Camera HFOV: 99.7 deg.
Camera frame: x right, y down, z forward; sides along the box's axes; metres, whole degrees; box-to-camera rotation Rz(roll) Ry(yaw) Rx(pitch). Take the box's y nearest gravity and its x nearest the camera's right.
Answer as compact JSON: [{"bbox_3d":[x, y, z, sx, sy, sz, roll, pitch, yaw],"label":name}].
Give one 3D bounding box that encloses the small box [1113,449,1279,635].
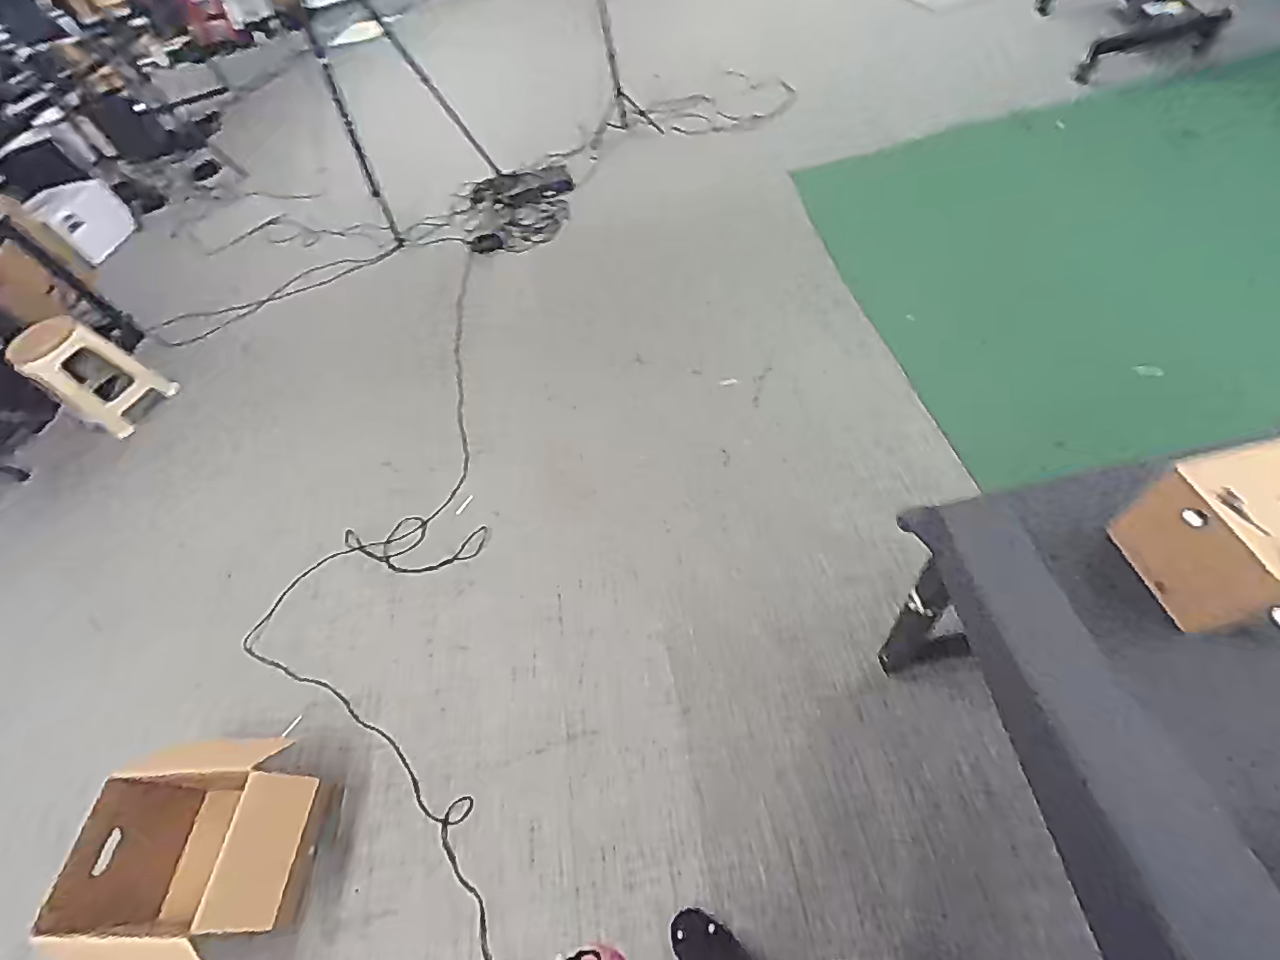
[{"bbox_3d":[0.768,0.079,0.678,0.179,0.176,0.168,-12,54,4],"label":"small box"}]
